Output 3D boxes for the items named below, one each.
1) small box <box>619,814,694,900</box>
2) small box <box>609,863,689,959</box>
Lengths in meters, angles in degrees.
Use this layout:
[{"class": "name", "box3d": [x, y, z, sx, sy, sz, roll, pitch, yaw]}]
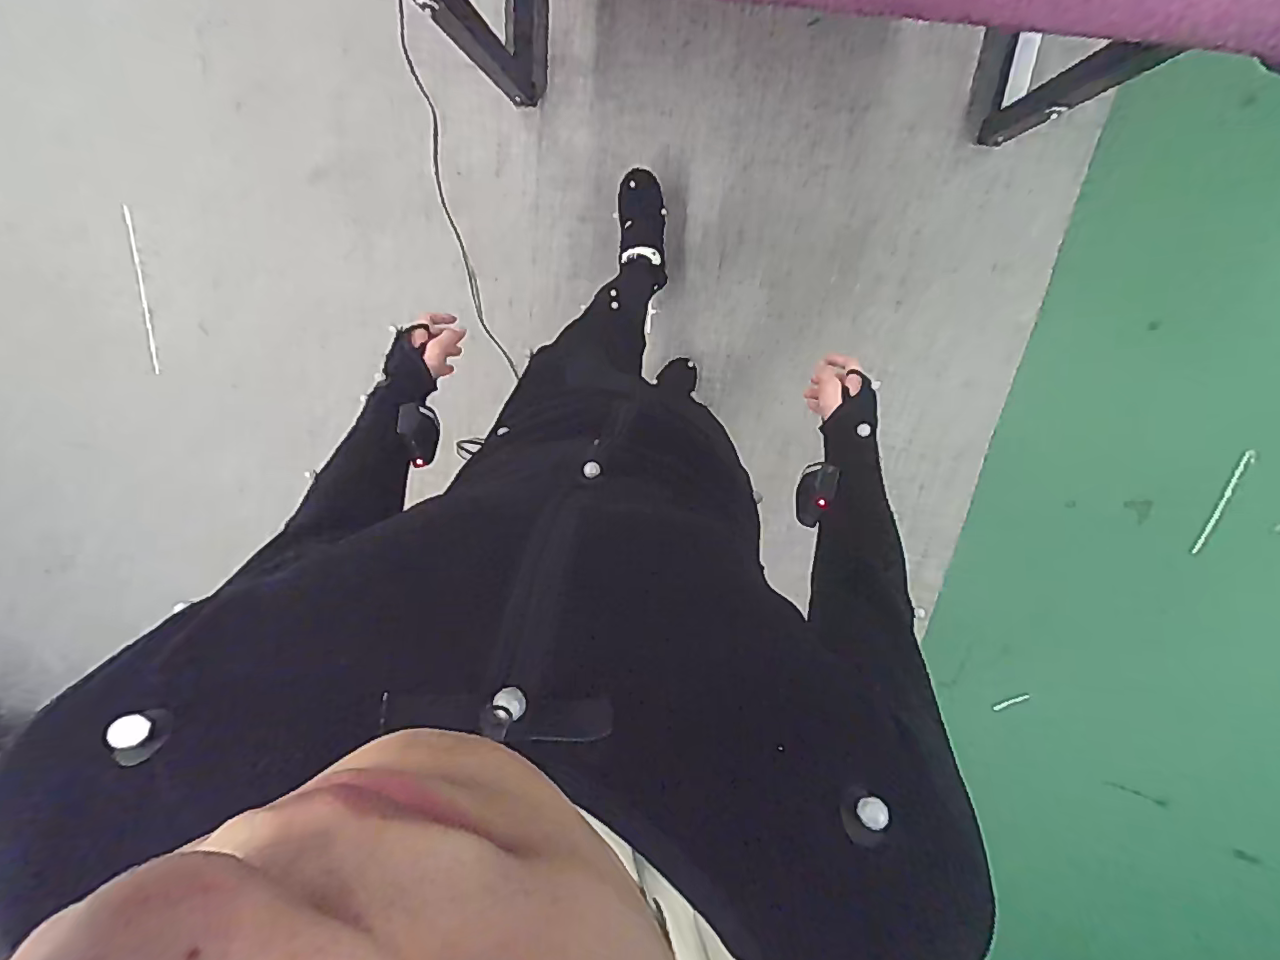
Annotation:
[{"class": "small box", "box3d": [0.051, 1.114, 1.571, 0.179, 0.176, 0.168, 17, 110, 1]}, {"class": "small box", "box3d": [0.029, 1.161, 1.415, 0.168, 0.176, 0.179, 17, 110, 1]}]
